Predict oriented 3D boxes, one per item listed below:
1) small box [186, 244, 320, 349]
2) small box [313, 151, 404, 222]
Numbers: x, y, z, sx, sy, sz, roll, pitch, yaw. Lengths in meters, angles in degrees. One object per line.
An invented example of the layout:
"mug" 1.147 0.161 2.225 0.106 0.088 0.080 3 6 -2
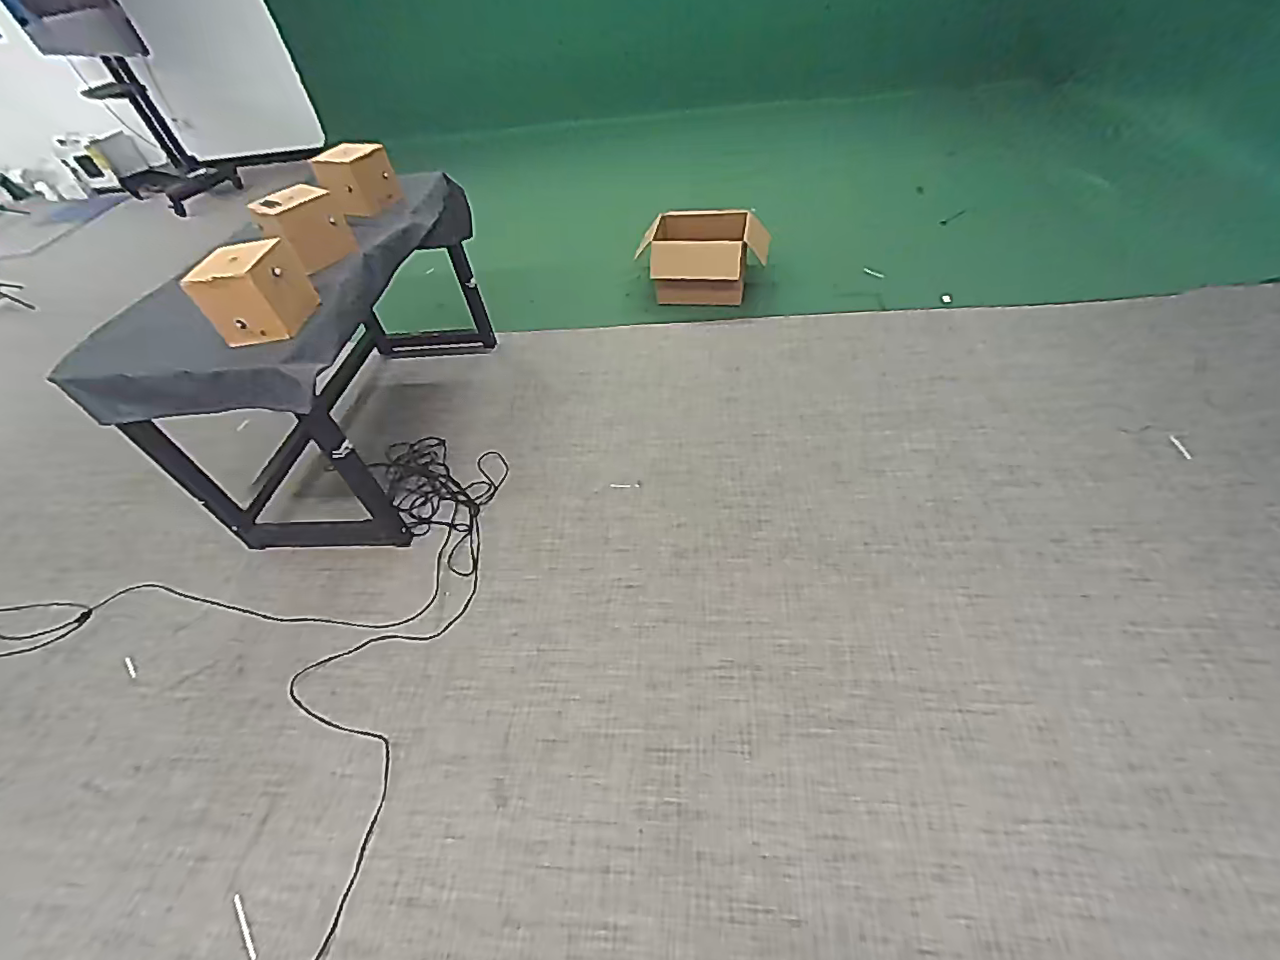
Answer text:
"small box" -0.908 -0.437 1.294 0.168 0.176 0.179 -6 47 7
"small box" -0.931 -0.978 1.808 0.179 0.176 0.168 12 49 20
